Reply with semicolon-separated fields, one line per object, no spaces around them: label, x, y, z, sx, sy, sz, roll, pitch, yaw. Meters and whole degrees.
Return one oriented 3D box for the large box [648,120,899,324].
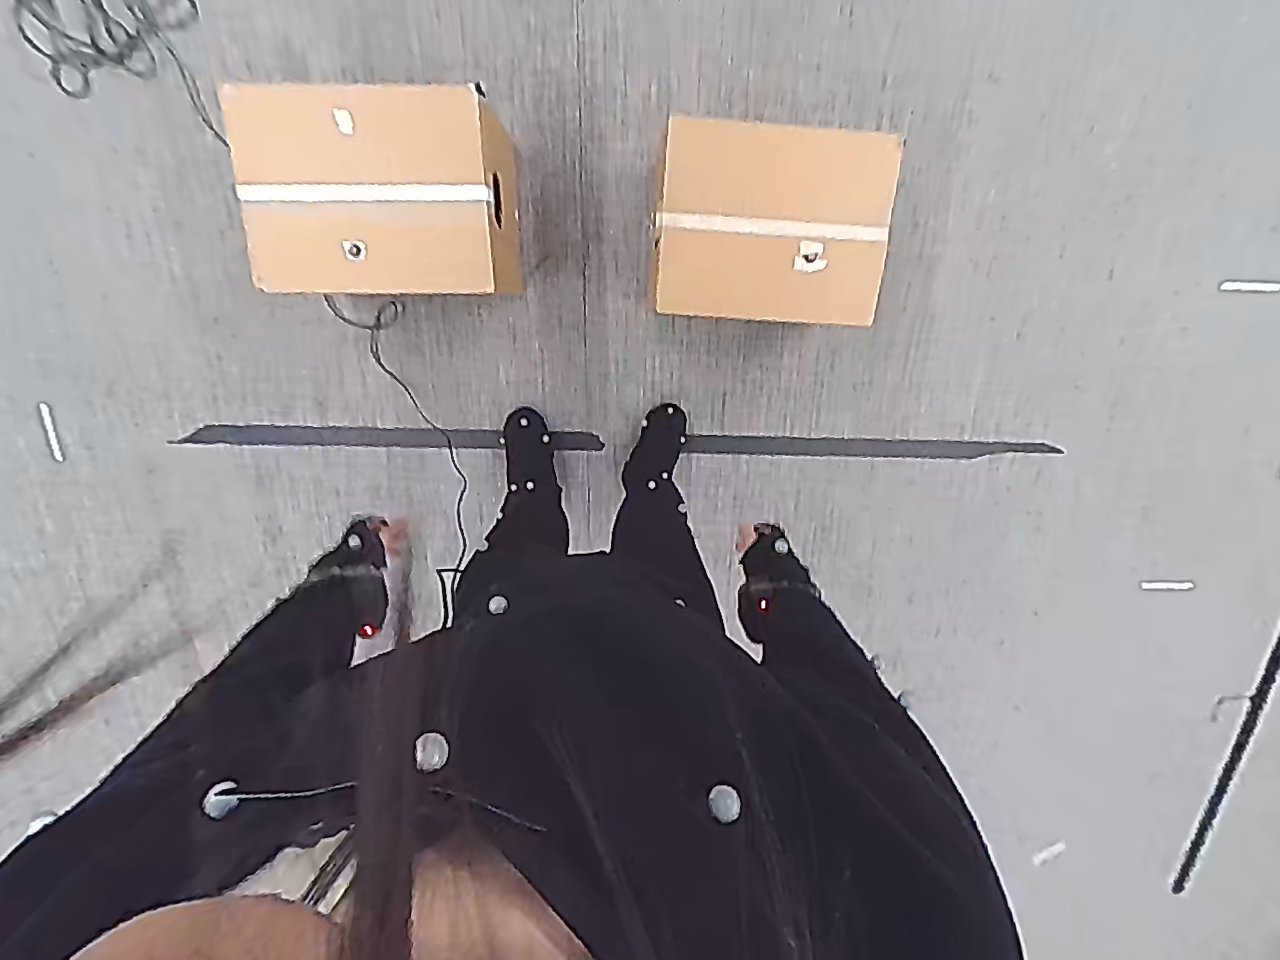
large box;0.230;-0.487;1.097;0.408;0.320;0.320;3;107;-4
